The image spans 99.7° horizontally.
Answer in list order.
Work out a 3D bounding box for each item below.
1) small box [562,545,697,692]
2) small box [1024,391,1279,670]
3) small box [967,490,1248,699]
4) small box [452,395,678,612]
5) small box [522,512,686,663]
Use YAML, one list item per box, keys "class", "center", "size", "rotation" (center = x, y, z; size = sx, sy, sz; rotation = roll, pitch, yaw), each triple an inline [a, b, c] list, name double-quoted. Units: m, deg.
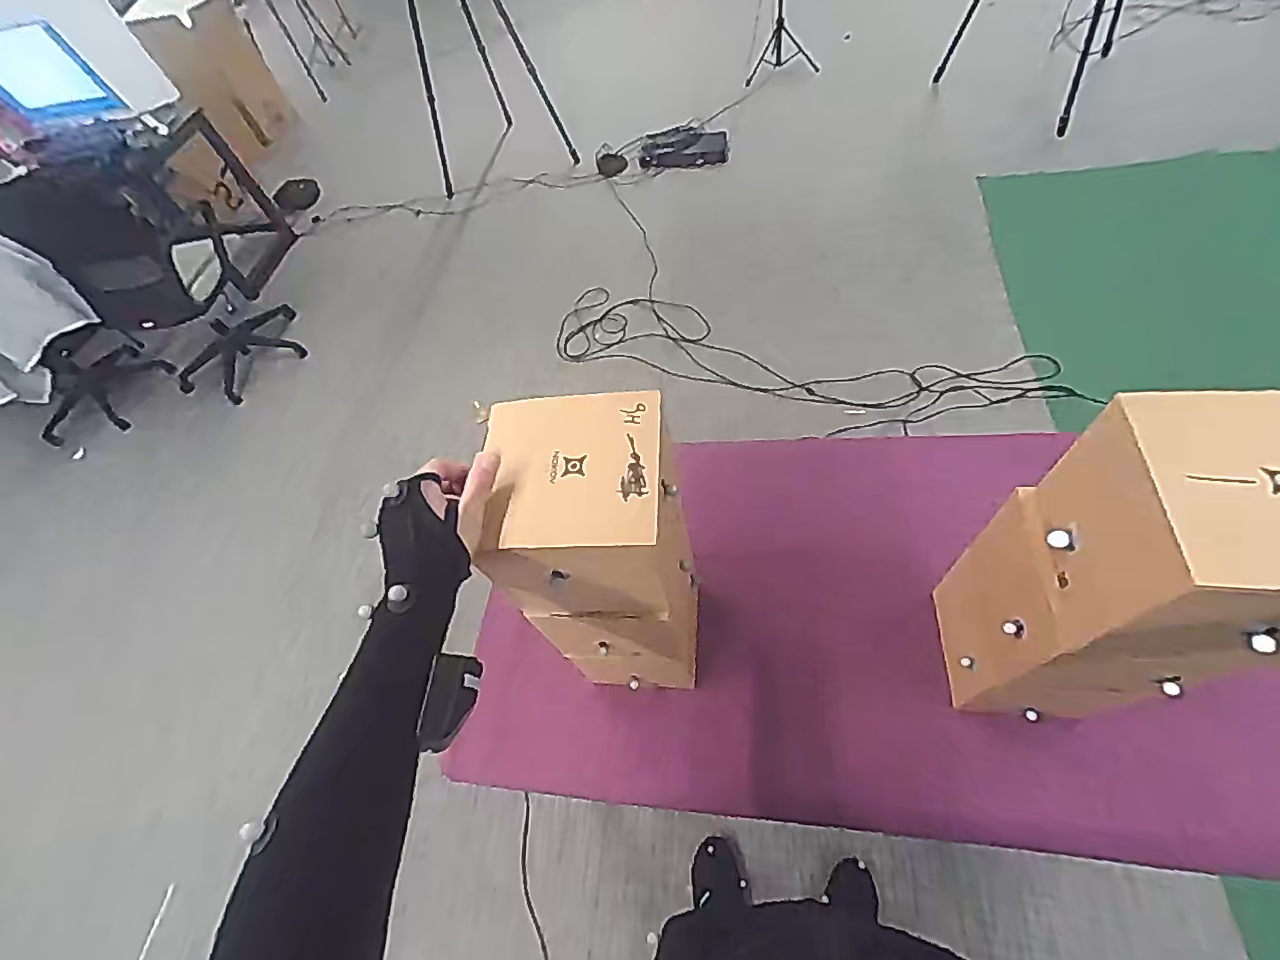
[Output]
- class: "small box"
  center: [-0.004, 0.211, 0.829]
  size: [0.168, 0.176, 0.179]
  rotation: [-1, 57, 12]
- class: "small box"
  center: [0.455, 0.046, 0.436]
  size: [0.179, 0.176, 0.168]
  rotation: [1, 58, 14]
- class: "small box"
  center: [0.478, 0.126, 0.578]
  size: [0.168, 0.176, 0.179]
  rotation: [-1, 57, 12]
- class: "small box"
  center: [-0.060, 0.034, 0.562]
  size: [0.179, 0.176, 0.168]
  rotation: [-3, 58, 11]
- class: "small box"
  center: [-0.032, 0.123, 0.696]
  size: [0.168, 0.176, 0.179]
  rotation: [-2, 58, 11]
